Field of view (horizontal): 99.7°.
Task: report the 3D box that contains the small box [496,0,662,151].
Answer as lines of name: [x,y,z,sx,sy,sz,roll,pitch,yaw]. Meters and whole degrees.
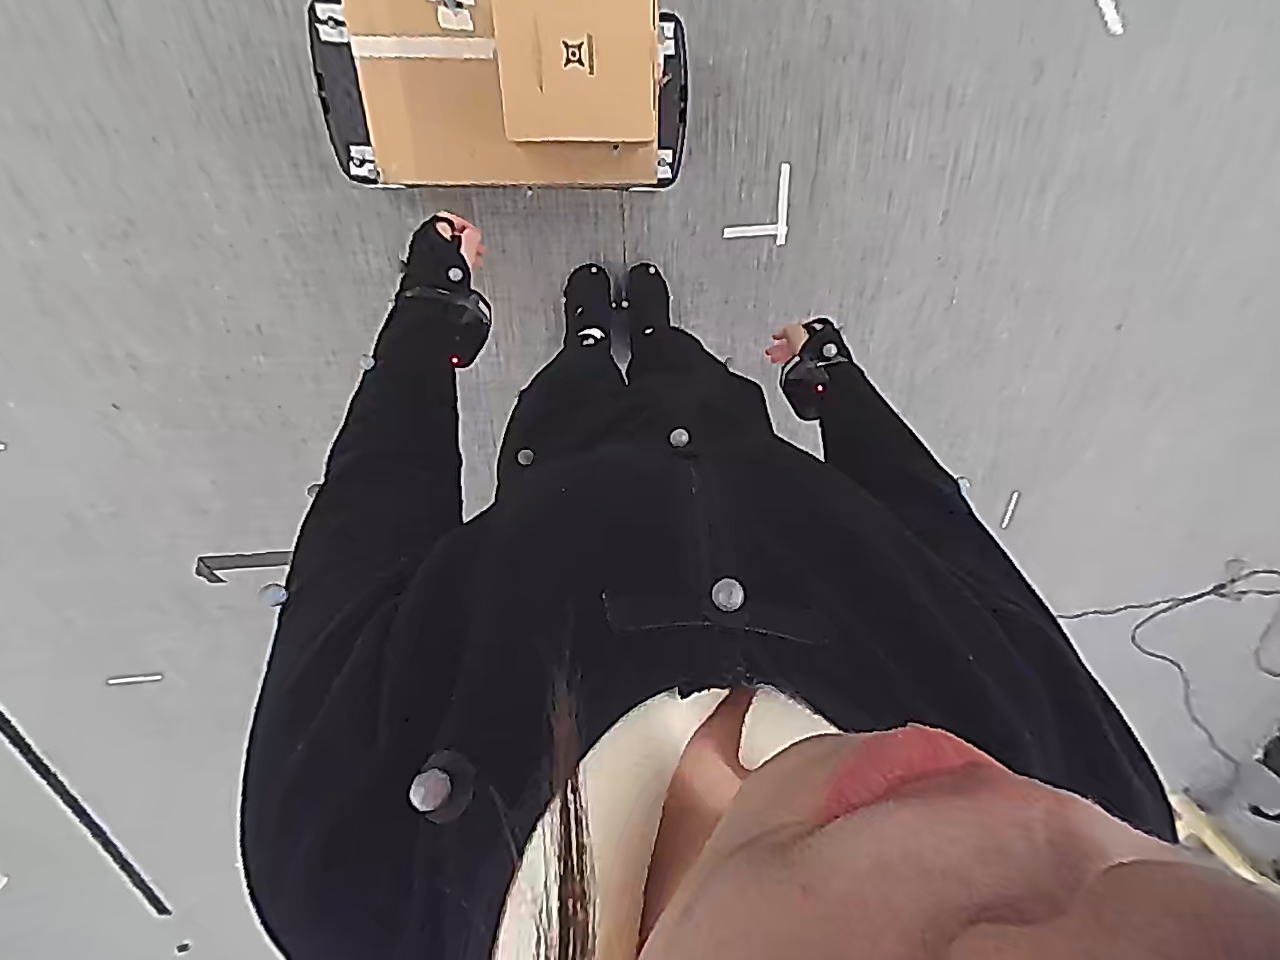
small box: [-0.073,-0.501,0.653,0.179,0.176,0.168,-3,118,-5]

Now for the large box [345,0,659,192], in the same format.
large box: [-0.185,-0.633,0.848,0.408,0.320,0.320,-3,117,-5]

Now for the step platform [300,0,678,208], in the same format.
step platform: [-0.266,-0.723,1.061,0.684,0.204,0.286,2,117,-8]
